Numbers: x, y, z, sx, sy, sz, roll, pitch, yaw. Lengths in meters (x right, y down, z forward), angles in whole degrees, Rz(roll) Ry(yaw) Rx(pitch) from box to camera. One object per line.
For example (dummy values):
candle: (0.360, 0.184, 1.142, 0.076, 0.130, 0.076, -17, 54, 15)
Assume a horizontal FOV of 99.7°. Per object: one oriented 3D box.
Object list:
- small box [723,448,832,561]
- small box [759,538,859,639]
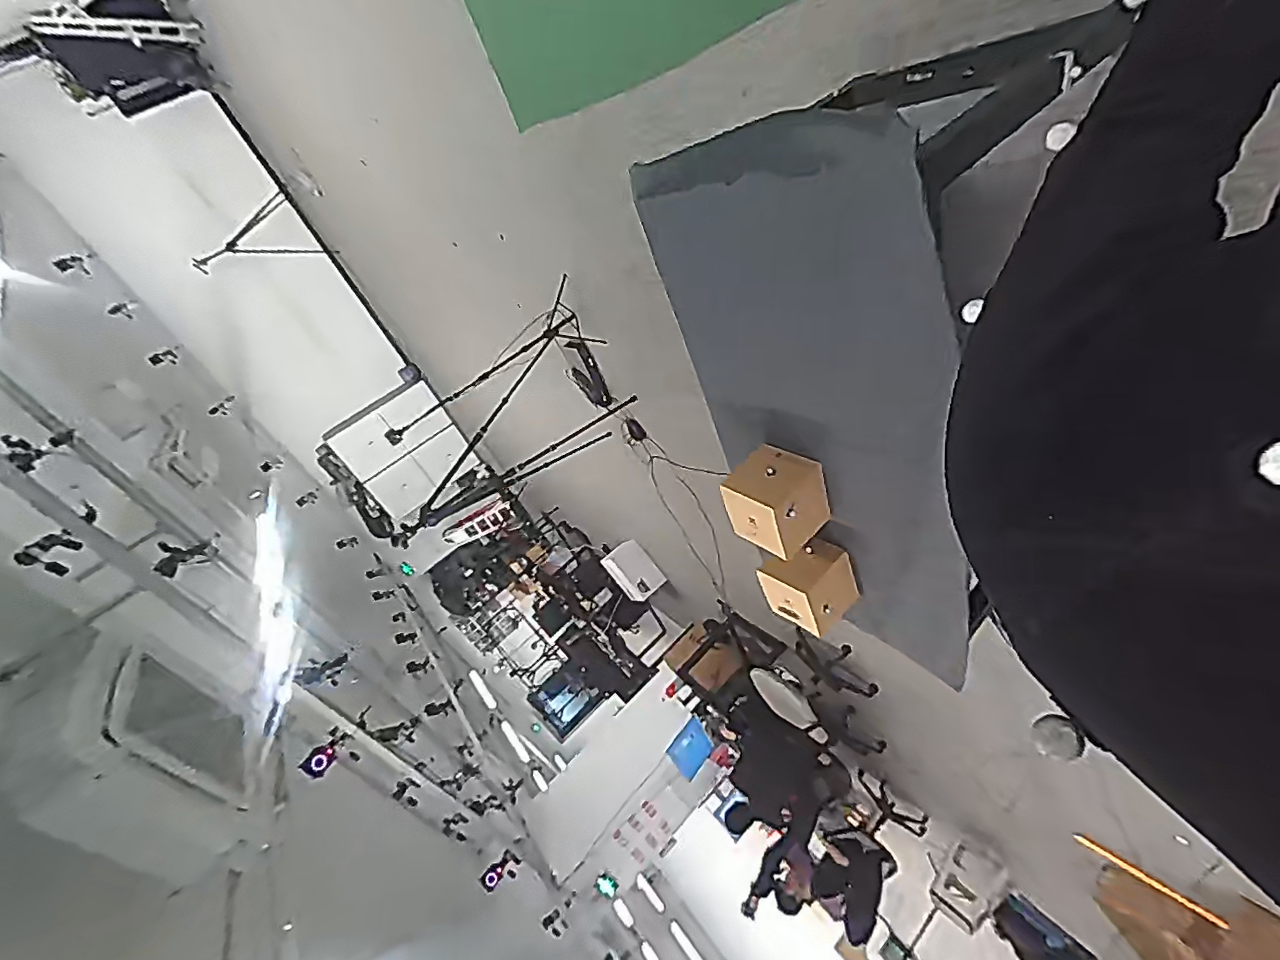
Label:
small box: (0.329, 0.051, 1.277, 0.168, 0.176, 0.179, 29, 151, 48)
small box: (0.448, 0.271, 1.417, 0.168, 0.176, 0.179, 23, 146, 52)
